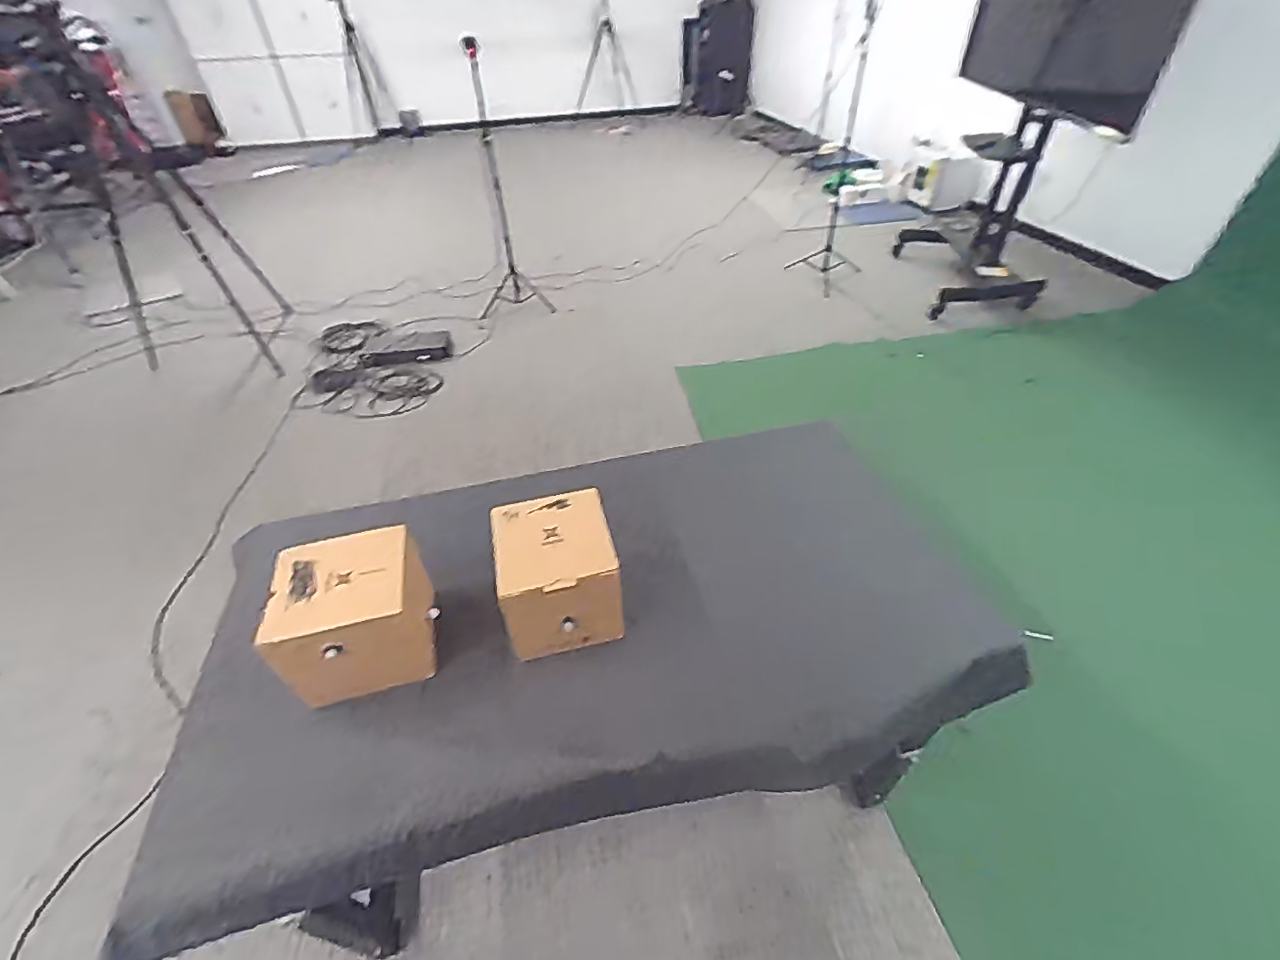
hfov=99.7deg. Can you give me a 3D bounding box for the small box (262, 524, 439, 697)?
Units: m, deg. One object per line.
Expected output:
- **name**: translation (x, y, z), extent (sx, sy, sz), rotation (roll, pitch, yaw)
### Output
- **small box**: translation (-0.410, 0.195, 0.801), extent (0.179, 0.176, 0.168), rotation (-11, 44, -11)

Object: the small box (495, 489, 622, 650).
- **small box**: translation (-0.125, 0.145, 0.847), extent (0.168, 0.176, 0.179), rotation (-11, 44, -9)
